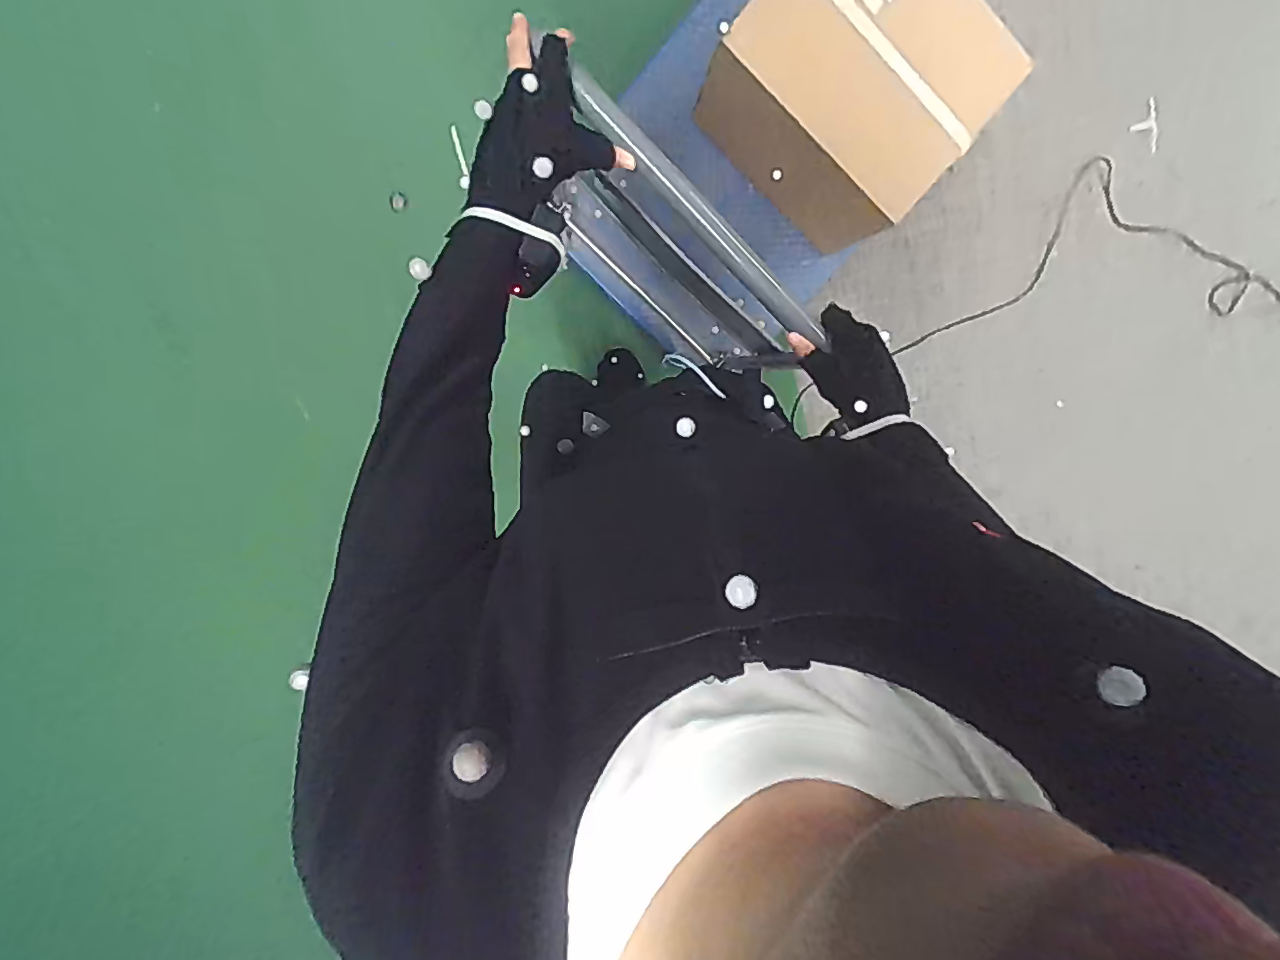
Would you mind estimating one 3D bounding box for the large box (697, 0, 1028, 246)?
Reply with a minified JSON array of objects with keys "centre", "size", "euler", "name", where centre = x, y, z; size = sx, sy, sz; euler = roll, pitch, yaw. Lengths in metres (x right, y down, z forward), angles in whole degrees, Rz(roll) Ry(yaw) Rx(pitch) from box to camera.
[{"centre":[0.366,-0.706,0.990],"size":[0.408,0.320,0.320],"euler":[39,98,-10],"name":"large box"}]
